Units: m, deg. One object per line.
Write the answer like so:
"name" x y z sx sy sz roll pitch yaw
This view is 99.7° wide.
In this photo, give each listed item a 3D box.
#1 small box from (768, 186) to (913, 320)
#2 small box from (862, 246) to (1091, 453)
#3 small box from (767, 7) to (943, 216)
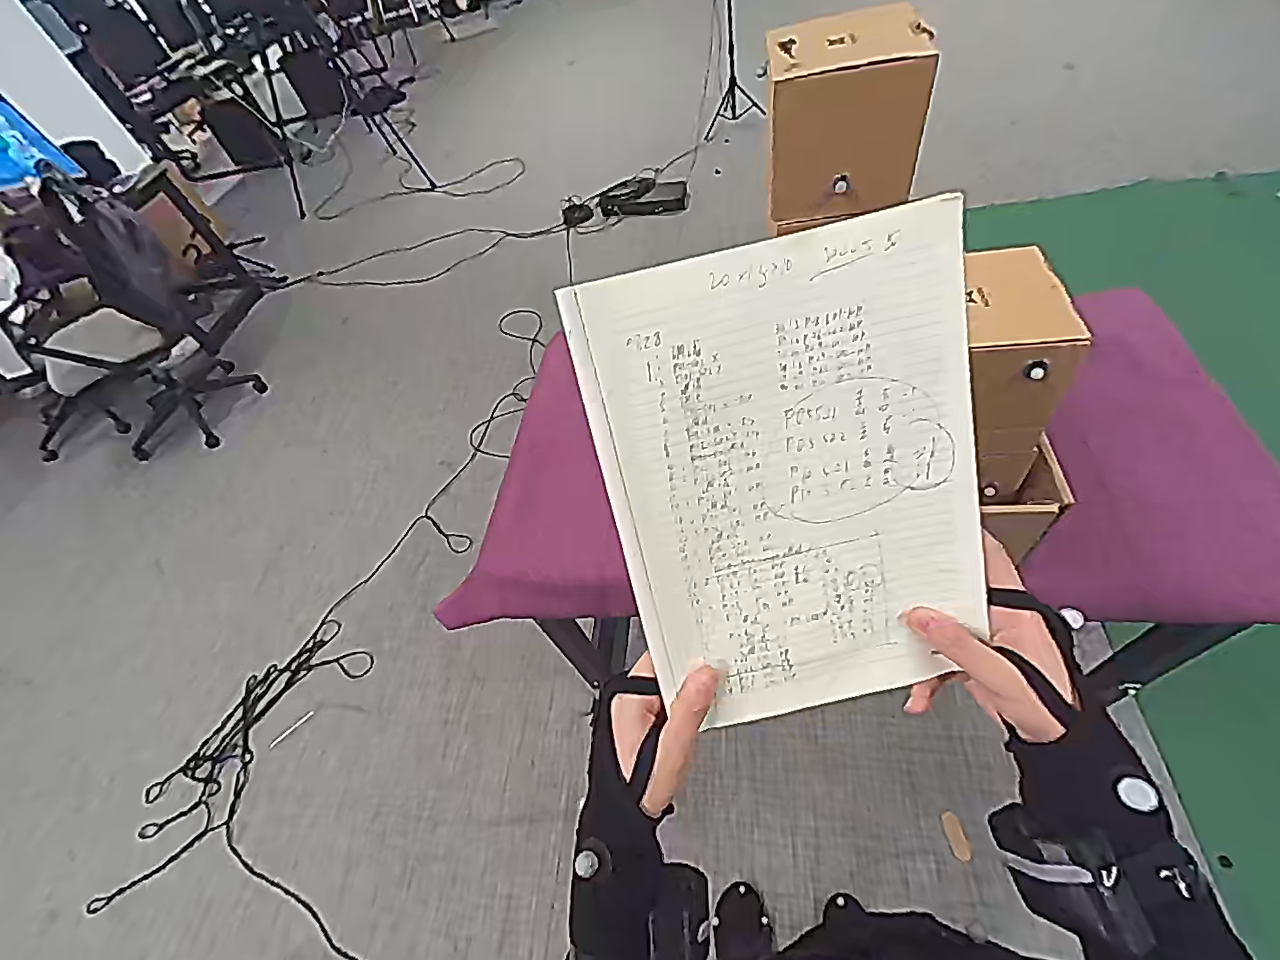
"small box" 0.291 -0.368 0.826 0.179 0.176 0.168 -3 53 11
"small box" 0.363 -0.144 0.631 0.179 0.176 0.168 -1 52 12
"small box" 0.259 -0.467 0.699 0.179 0.176 0.168 -1 54 11
